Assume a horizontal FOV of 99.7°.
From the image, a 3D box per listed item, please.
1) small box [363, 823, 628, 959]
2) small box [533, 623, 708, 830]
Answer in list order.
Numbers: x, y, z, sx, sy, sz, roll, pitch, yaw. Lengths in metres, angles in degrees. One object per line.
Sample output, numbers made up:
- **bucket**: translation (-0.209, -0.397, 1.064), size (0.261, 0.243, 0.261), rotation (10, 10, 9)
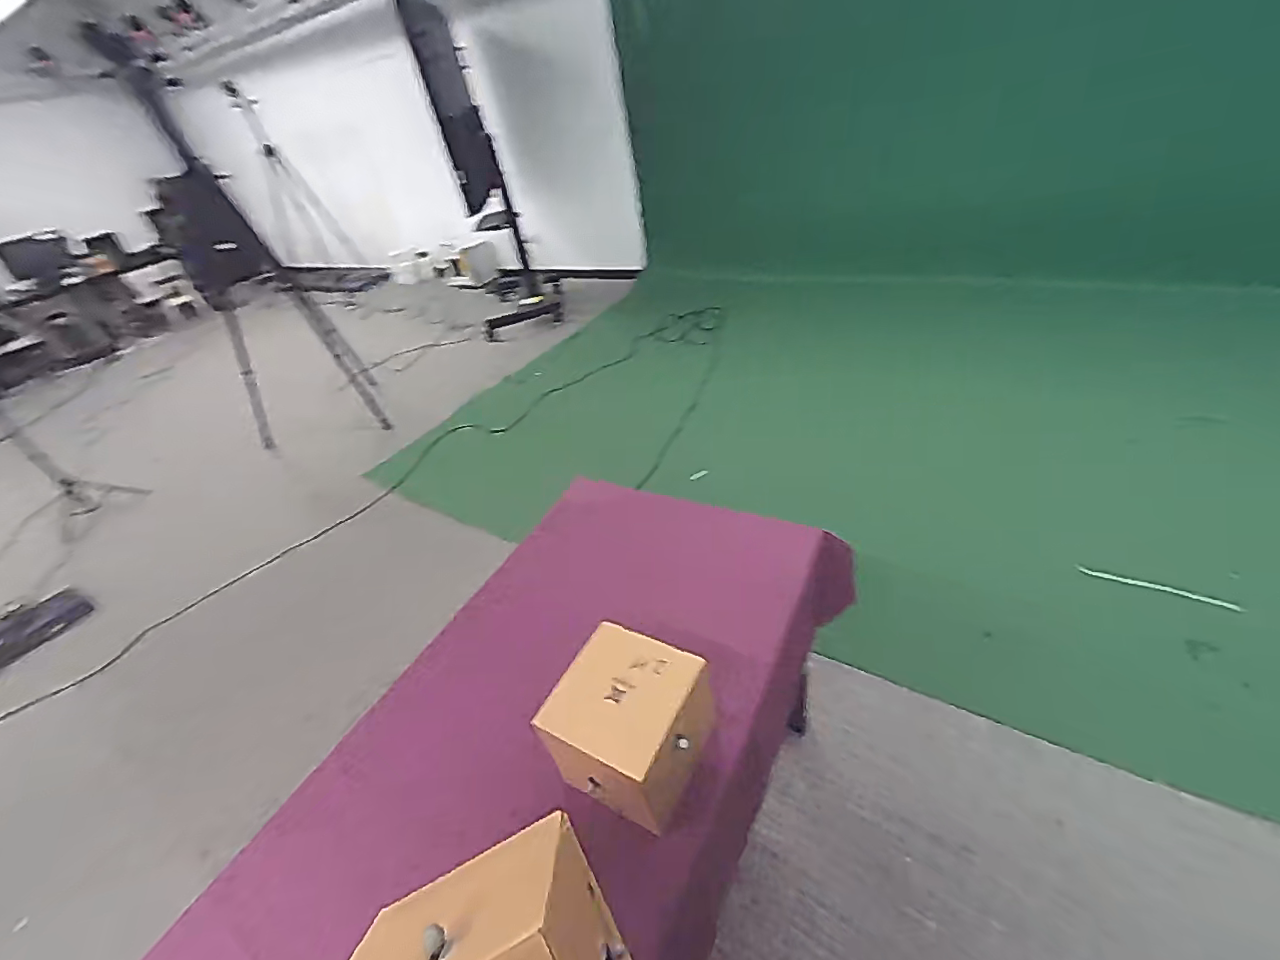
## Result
- **small box**: translation (-0.104, 0.397, 0.389), size (0.179, 0.176, 0.168), rotation (-24, 83, -8)
- **small box**: translation (-0.014, 0.339, 0.751), size (0.168, 0.176, 0.179), rotation (13, 44, 29)
